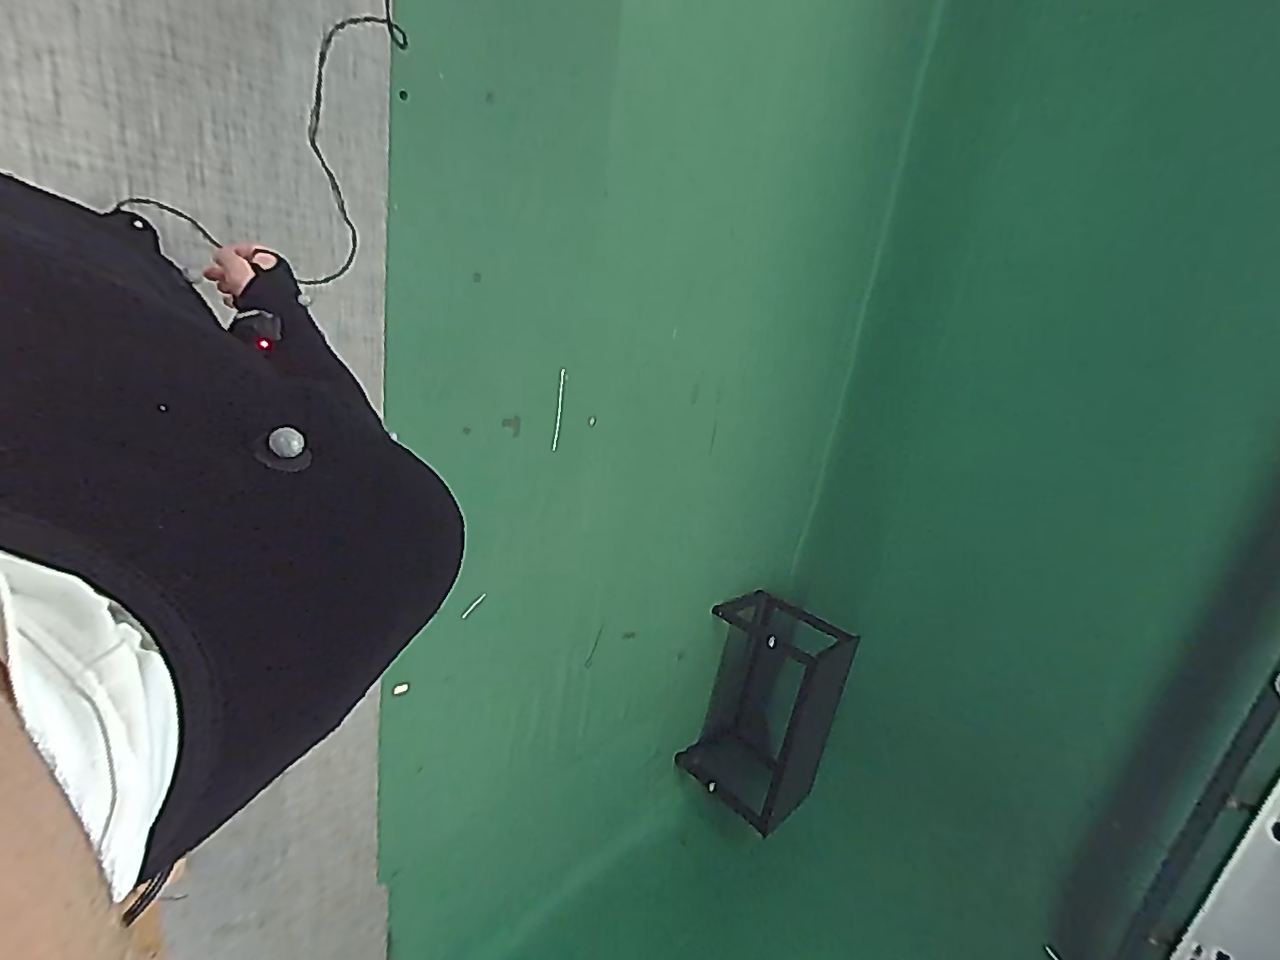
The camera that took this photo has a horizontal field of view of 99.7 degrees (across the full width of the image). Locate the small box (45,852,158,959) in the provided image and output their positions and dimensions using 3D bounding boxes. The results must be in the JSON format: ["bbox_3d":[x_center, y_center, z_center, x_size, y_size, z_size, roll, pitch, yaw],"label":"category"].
[{"bbox_3d":[-1.269,1.038,1.272,0.179,0.176,0.168,2,107,-49],"label":"small box"}]
